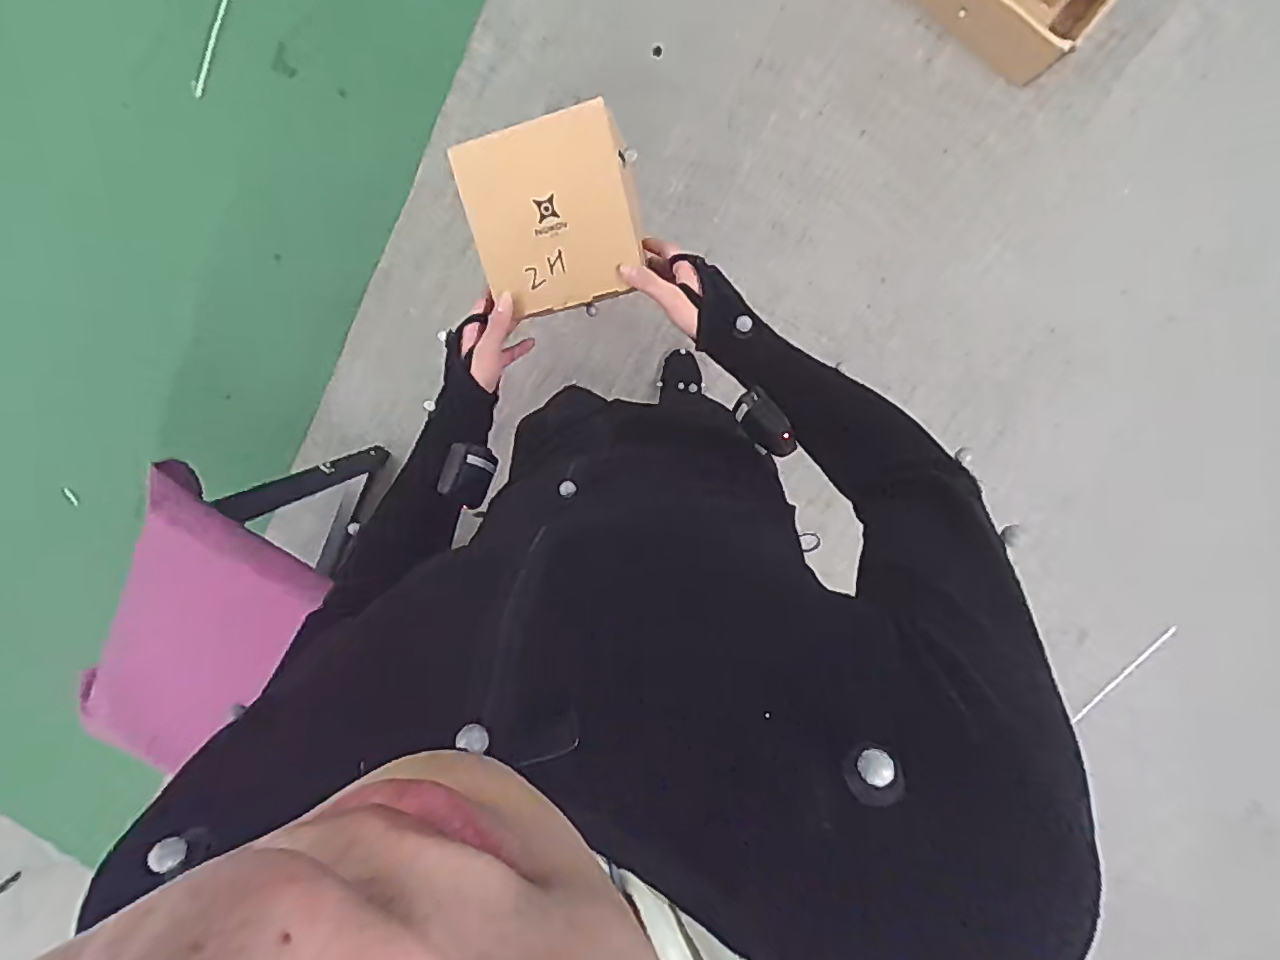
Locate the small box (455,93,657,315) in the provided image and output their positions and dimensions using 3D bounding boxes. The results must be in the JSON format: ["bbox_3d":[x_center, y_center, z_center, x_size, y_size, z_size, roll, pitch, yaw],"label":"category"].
[{"bbox_3d":[-0.080,-0.296,0.619,0.168,0.176,0.179,-10,109,10],"label":"small box"}]
